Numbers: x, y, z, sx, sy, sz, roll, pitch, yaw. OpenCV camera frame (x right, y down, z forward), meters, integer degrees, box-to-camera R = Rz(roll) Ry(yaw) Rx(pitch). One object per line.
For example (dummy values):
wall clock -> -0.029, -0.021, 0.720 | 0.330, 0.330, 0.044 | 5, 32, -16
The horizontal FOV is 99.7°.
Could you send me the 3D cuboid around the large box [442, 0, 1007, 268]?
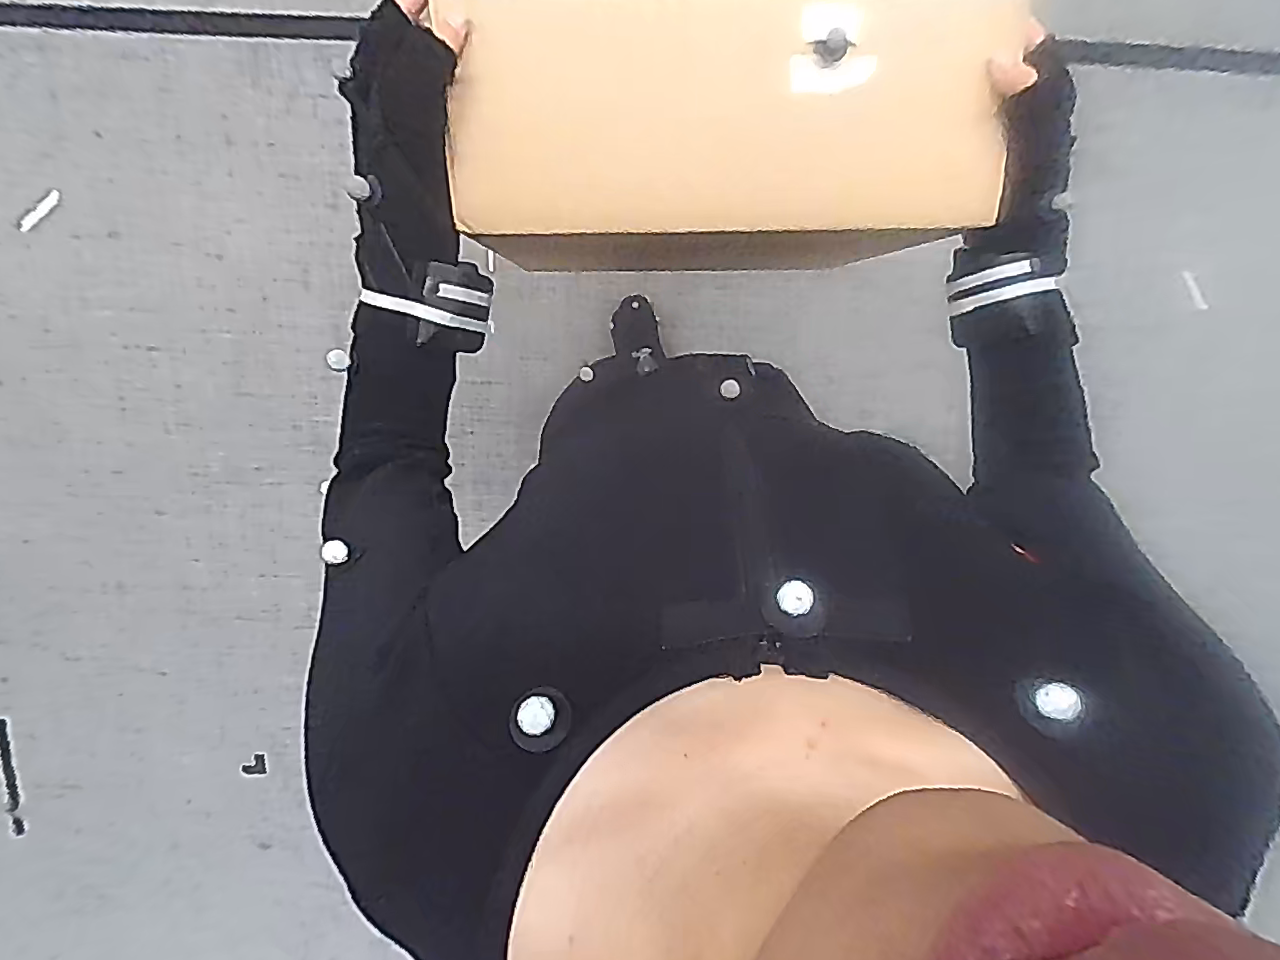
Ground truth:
large box -> 0.052, -0.389, 0.513 | 0.408, 0.320, 0.320 | -2, 106, -3
